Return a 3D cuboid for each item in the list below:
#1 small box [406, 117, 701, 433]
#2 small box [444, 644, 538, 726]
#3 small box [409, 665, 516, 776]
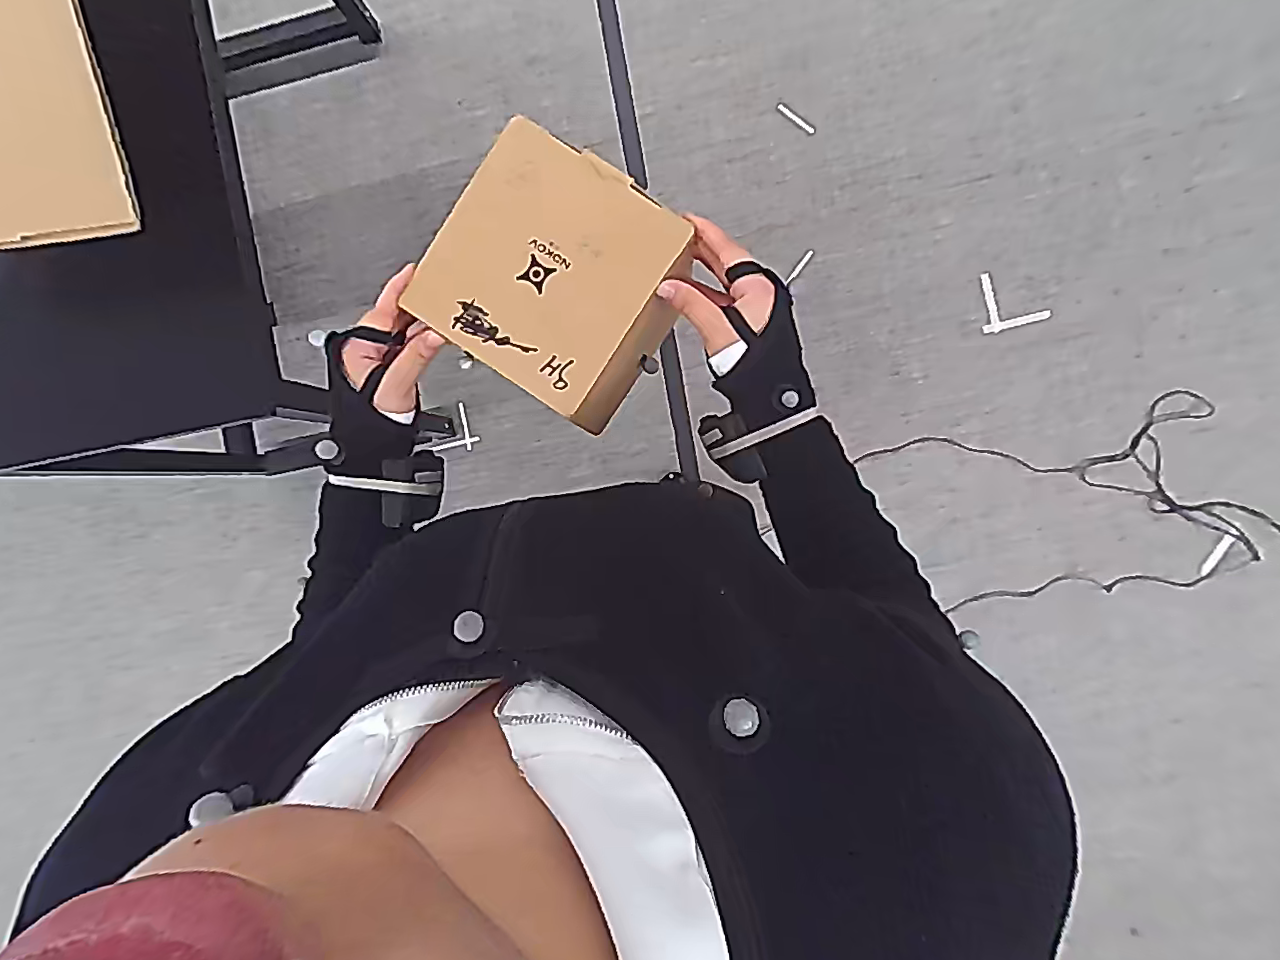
[{"bbox_3d":[-0.064,-0.163,0.491,0.168,0.176,0.179,34,90,4],"label":"small box"},{"bbox_3d":[-0.393,0.558,1.451,0.179,0.176,0.168,-14,90,3],"label":"small box"},{"bbox_3d":[-0.410,0.563,1.289,0.179,0.176,0.168,-18,89,5],"label":"small box"}]
